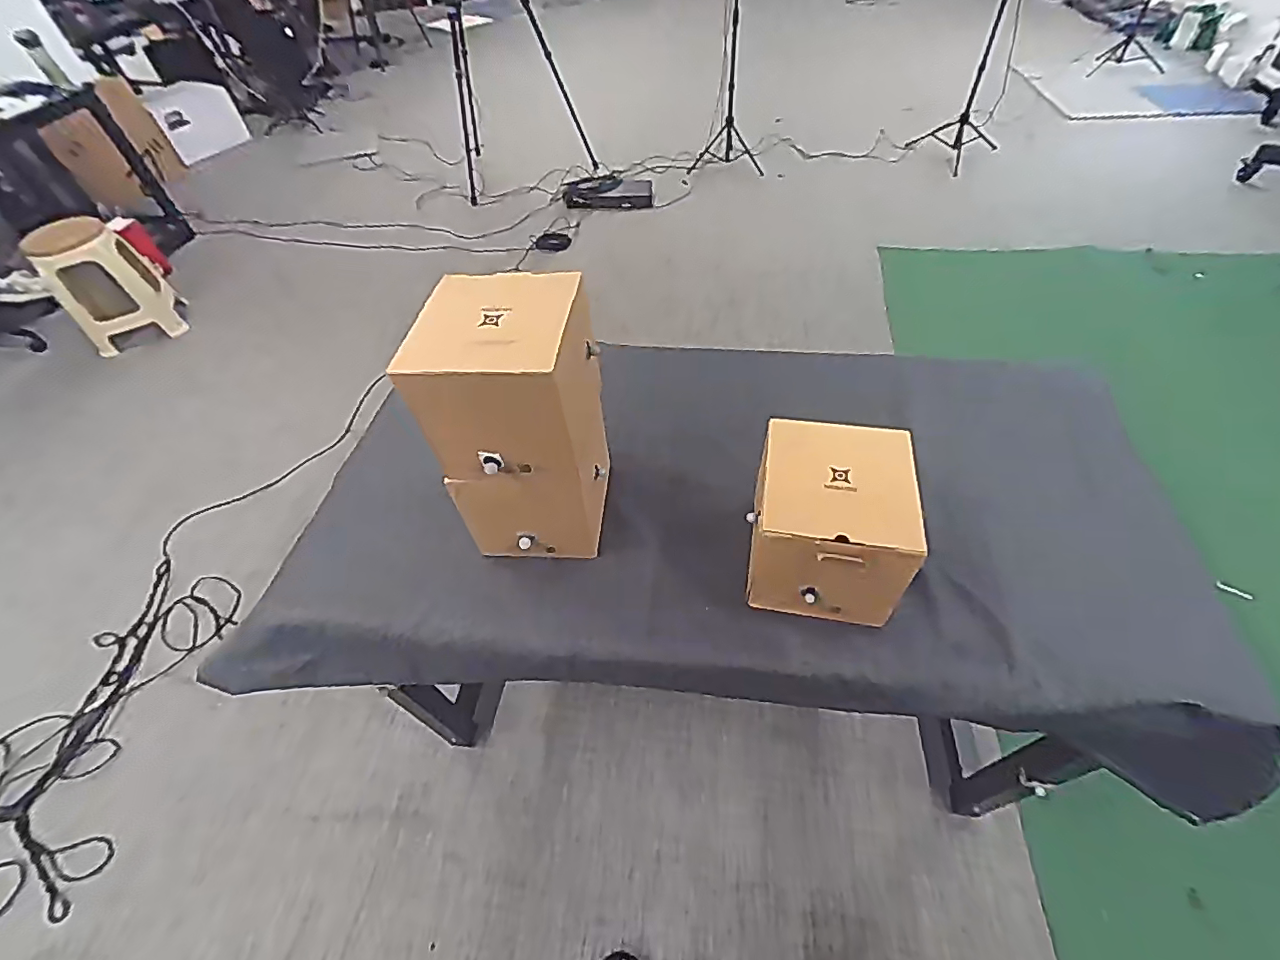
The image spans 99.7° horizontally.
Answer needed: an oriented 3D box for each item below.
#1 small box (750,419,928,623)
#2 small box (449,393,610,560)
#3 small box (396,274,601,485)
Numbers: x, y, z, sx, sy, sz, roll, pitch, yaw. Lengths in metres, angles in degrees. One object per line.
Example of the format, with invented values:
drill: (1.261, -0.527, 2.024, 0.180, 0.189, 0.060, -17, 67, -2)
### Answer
small box: (0.231, 0.050, 0.668, 0.168, 0.176, 0.179, 7, 51, 10)
small box: (-0.136, -0.010, 0.746, 0.168, 0.176, 0.179, 1, 51, 5)
small box: (-0.141, -0.115, 0.621, 0.168, 0.176, 0.179, 1, 51, 7)
